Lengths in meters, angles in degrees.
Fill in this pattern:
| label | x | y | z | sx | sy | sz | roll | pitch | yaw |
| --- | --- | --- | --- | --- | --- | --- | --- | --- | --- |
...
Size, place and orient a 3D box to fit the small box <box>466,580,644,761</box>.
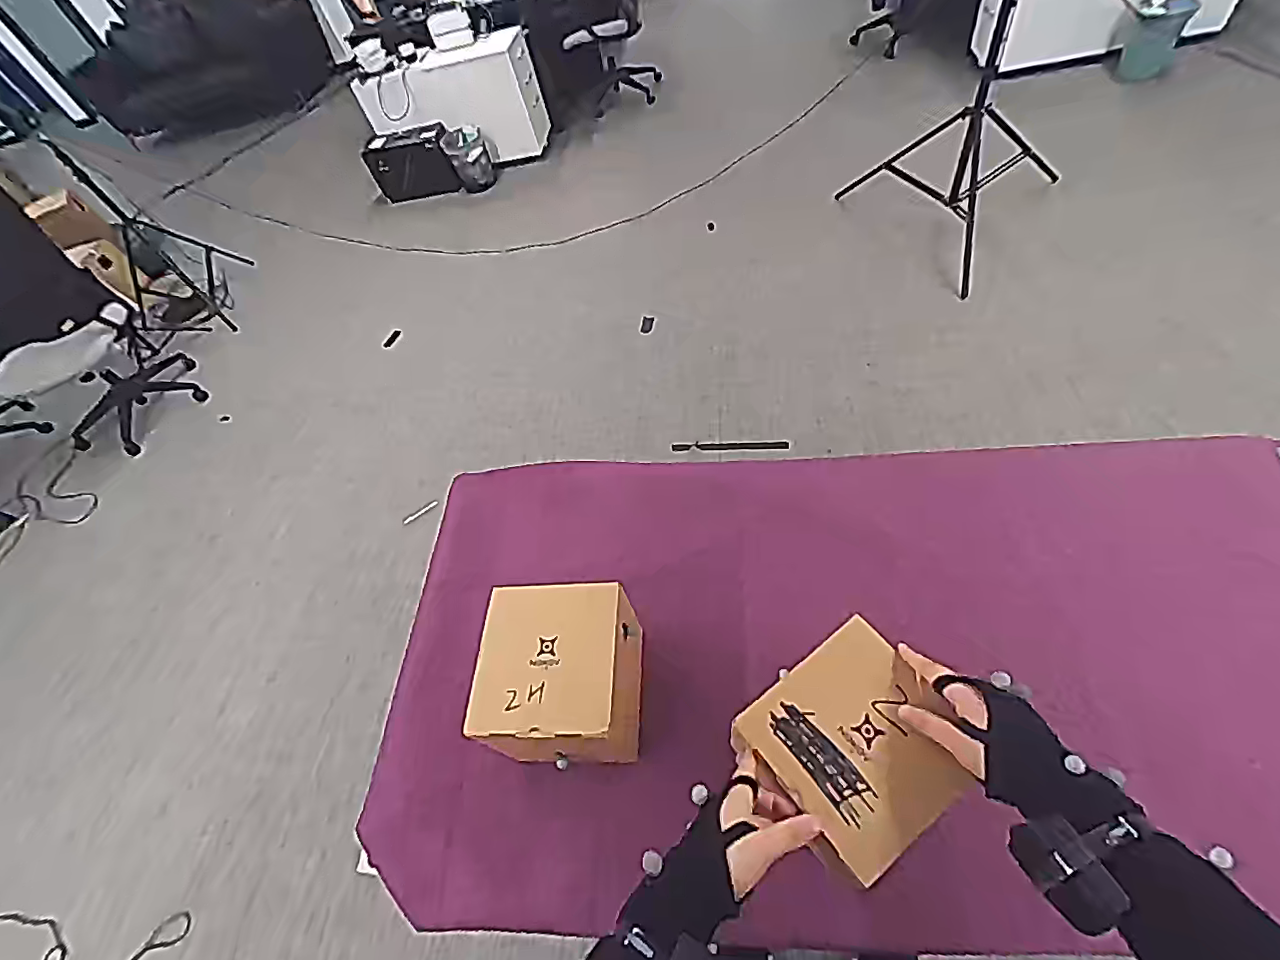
| label | x | y | z | sx | sy | sz | roll | pitch | yaw |
| --- | --- | --- | --- | --- | --- | --- | --- | --- | --- |
| small box | -0.091 | 0.242 | 0.681 | 0.168 | 0.176 | 0.179 | -4 | 54 | 10 |
